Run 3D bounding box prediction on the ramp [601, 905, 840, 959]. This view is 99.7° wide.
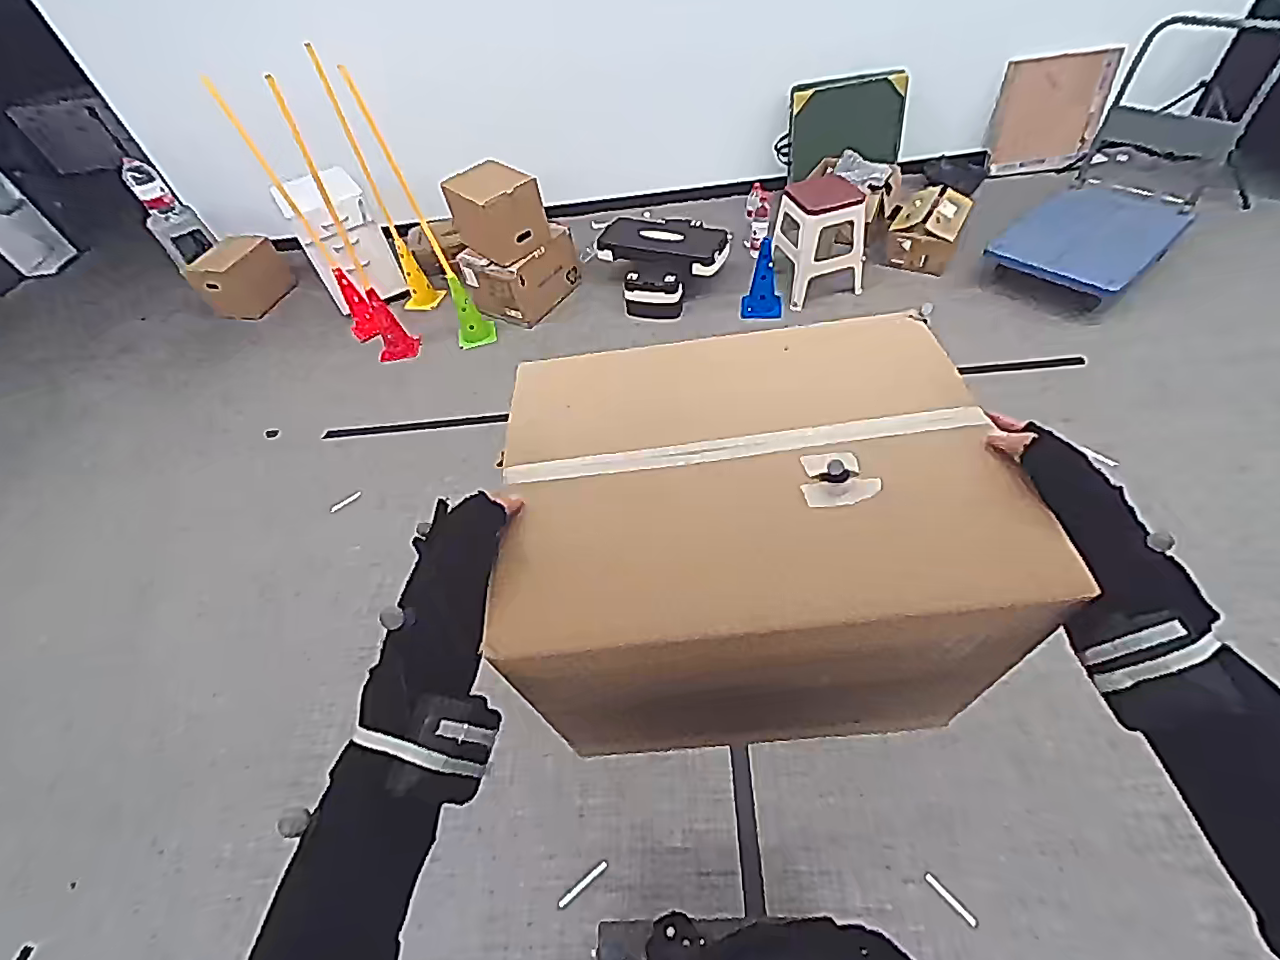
[{"bbox_3d":[0.180,1.341,0.904,0.509,0.206,0.991,-6,51,2],"label":"ramp"}]

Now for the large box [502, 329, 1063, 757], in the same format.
[{"bbox_3d":[0.101,0.079,0.584,0.408,0.320,0.320,-7,51,3],"label":"large box"}]
